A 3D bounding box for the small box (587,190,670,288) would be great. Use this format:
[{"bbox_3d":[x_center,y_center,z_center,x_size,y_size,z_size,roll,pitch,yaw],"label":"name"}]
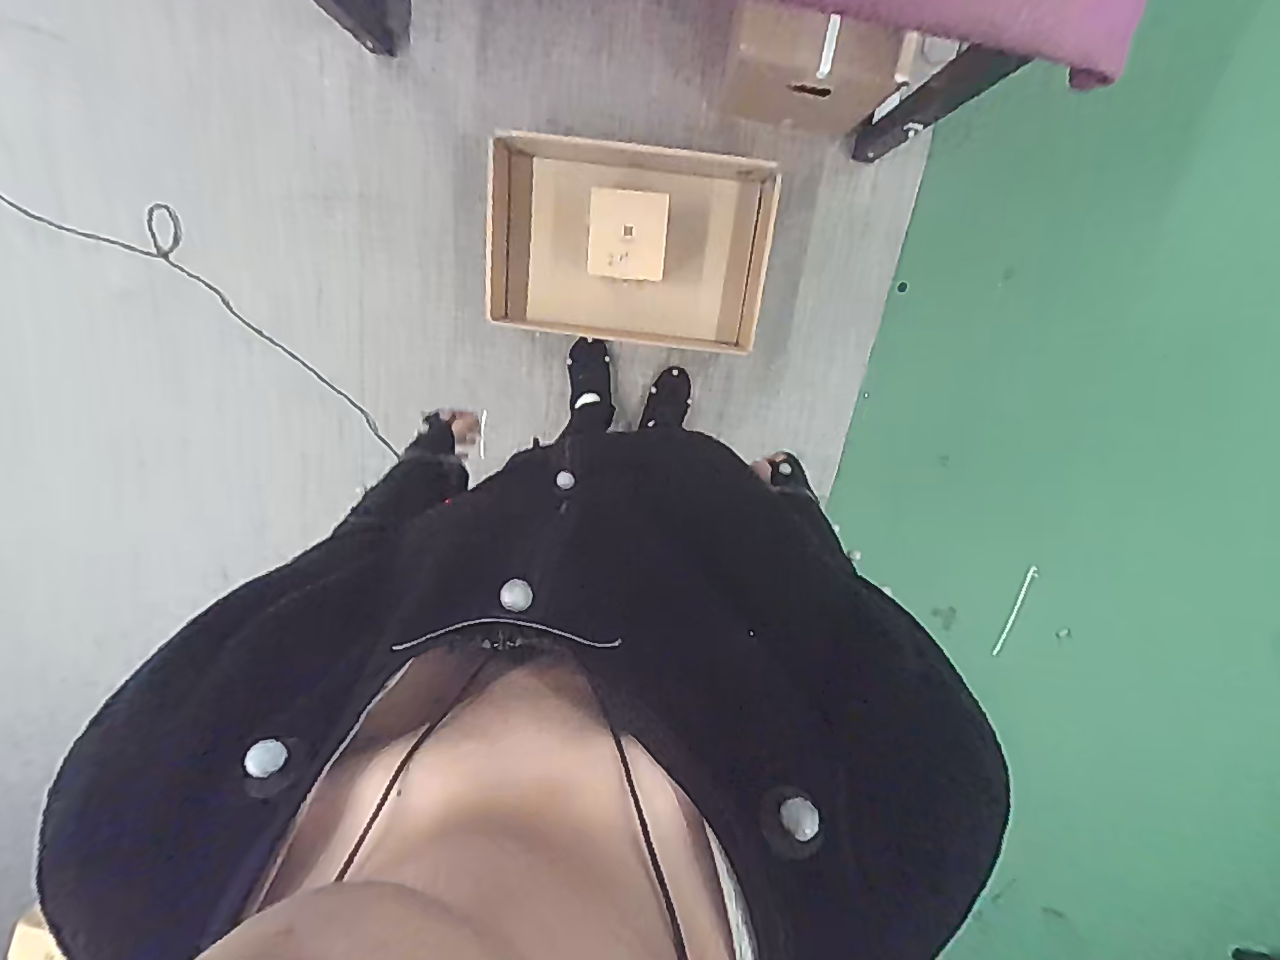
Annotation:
[{"bbox_3d":[-0.026,-0.534,1.219,0.168,0.176,0.179,5,108,0],"label":"small box"}]
